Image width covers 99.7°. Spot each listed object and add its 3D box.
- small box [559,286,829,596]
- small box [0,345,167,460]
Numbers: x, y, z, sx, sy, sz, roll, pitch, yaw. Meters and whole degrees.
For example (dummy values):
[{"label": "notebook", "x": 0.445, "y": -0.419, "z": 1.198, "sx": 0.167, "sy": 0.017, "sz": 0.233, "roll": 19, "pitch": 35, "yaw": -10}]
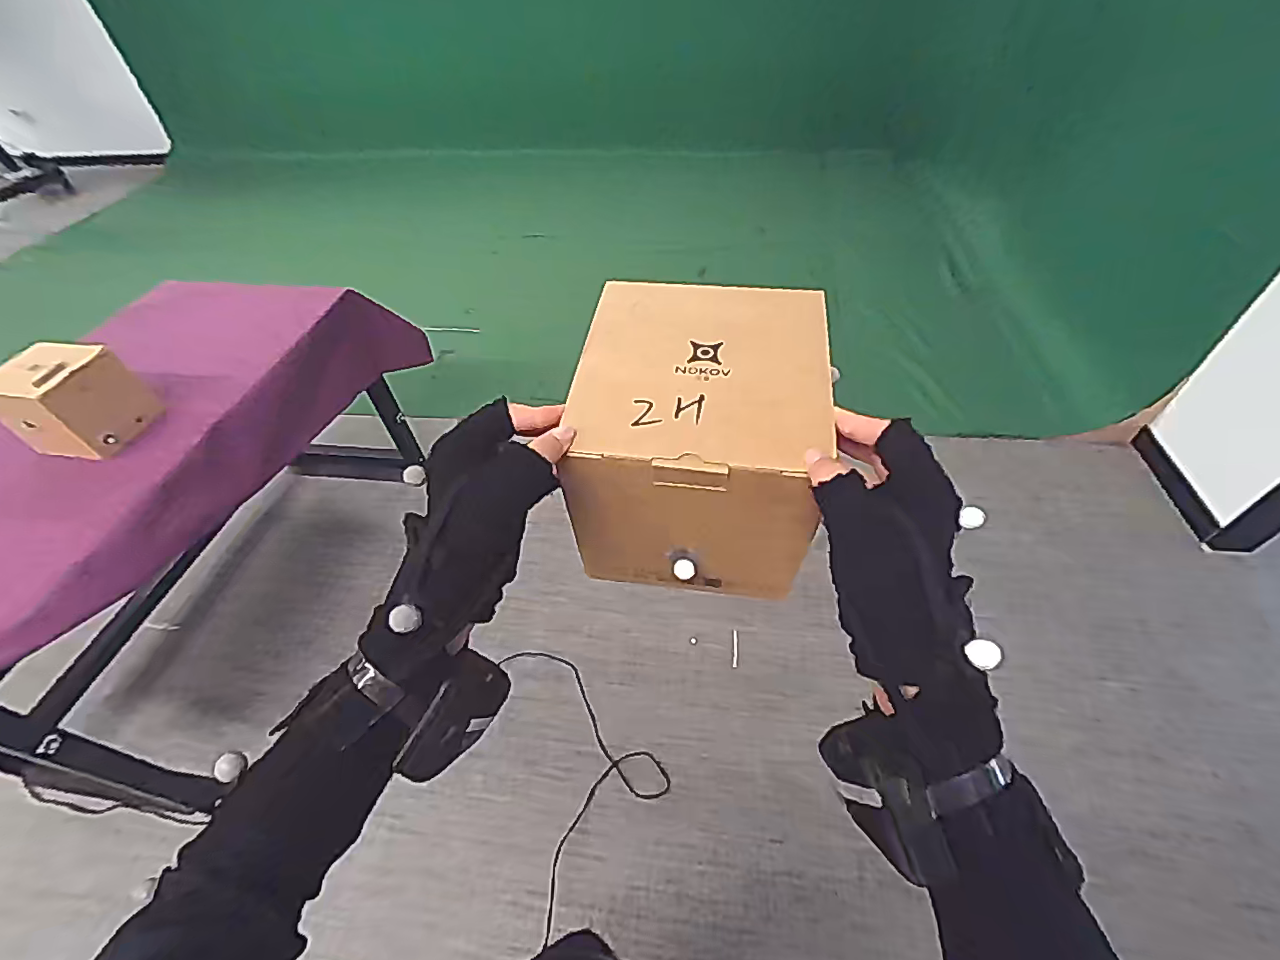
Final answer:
[{"label": "small box", "x": 0.046, "y": -0.029, "z": 0.434, "sx": 0.168, "sy": 0.176, "sz": 0.179, "roll": 5, "pitch": 54, "yaw": 8}, {"label": "small box", "x": -1.160, "y": -0.158, "z": 1.123, "sx": 0.179, "sy": 0.176, "sz": 0.168, "roll": 5, "pitch": 48, "yaw": 10}]
